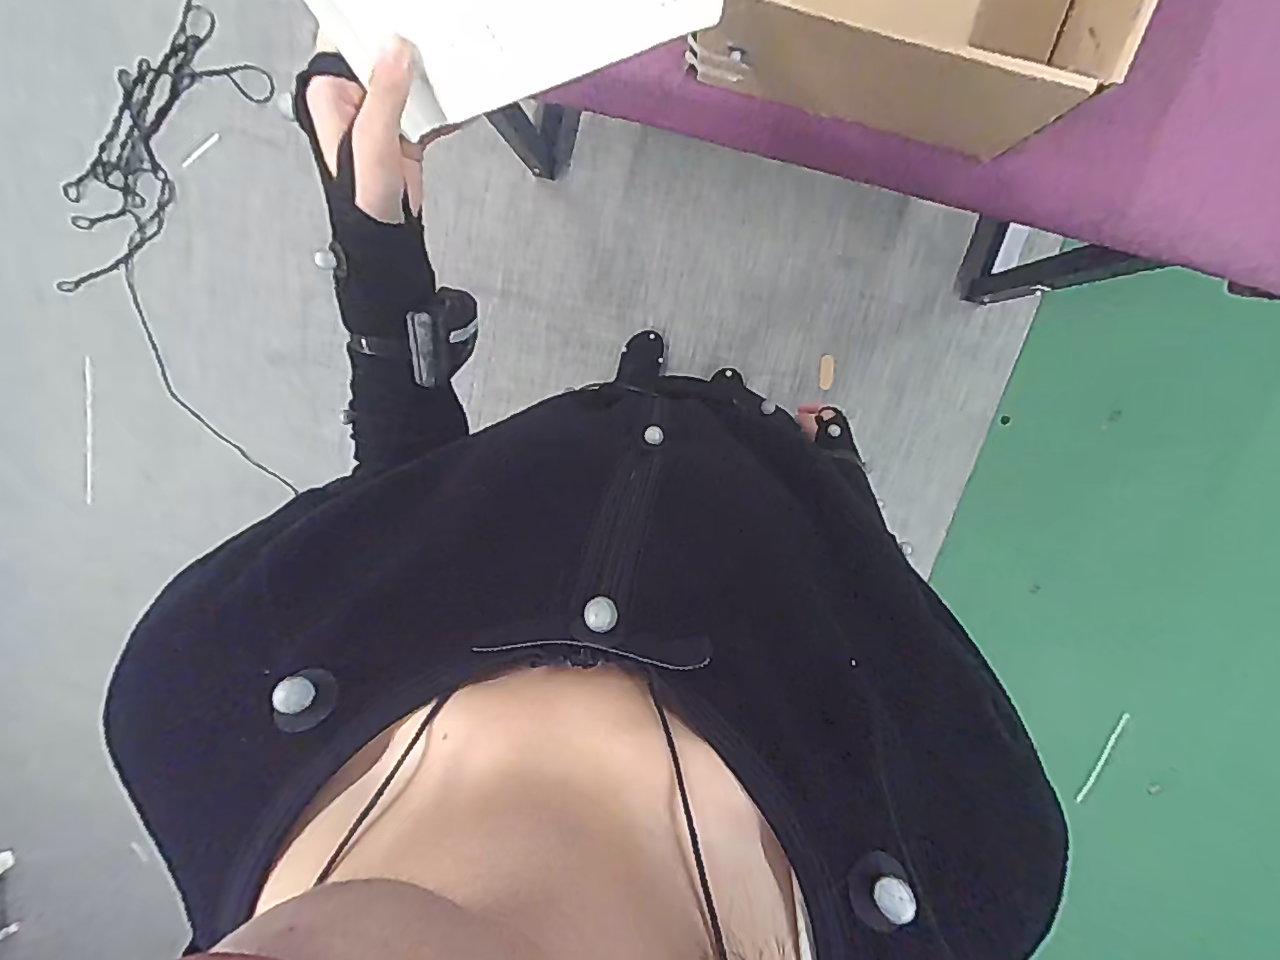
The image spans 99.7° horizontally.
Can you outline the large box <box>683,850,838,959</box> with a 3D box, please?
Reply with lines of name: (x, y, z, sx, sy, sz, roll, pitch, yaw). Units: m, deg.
large box: (0.332, 1.367, 1.610, 0.408, 0.320, 0.320, 1, 103, 4)
